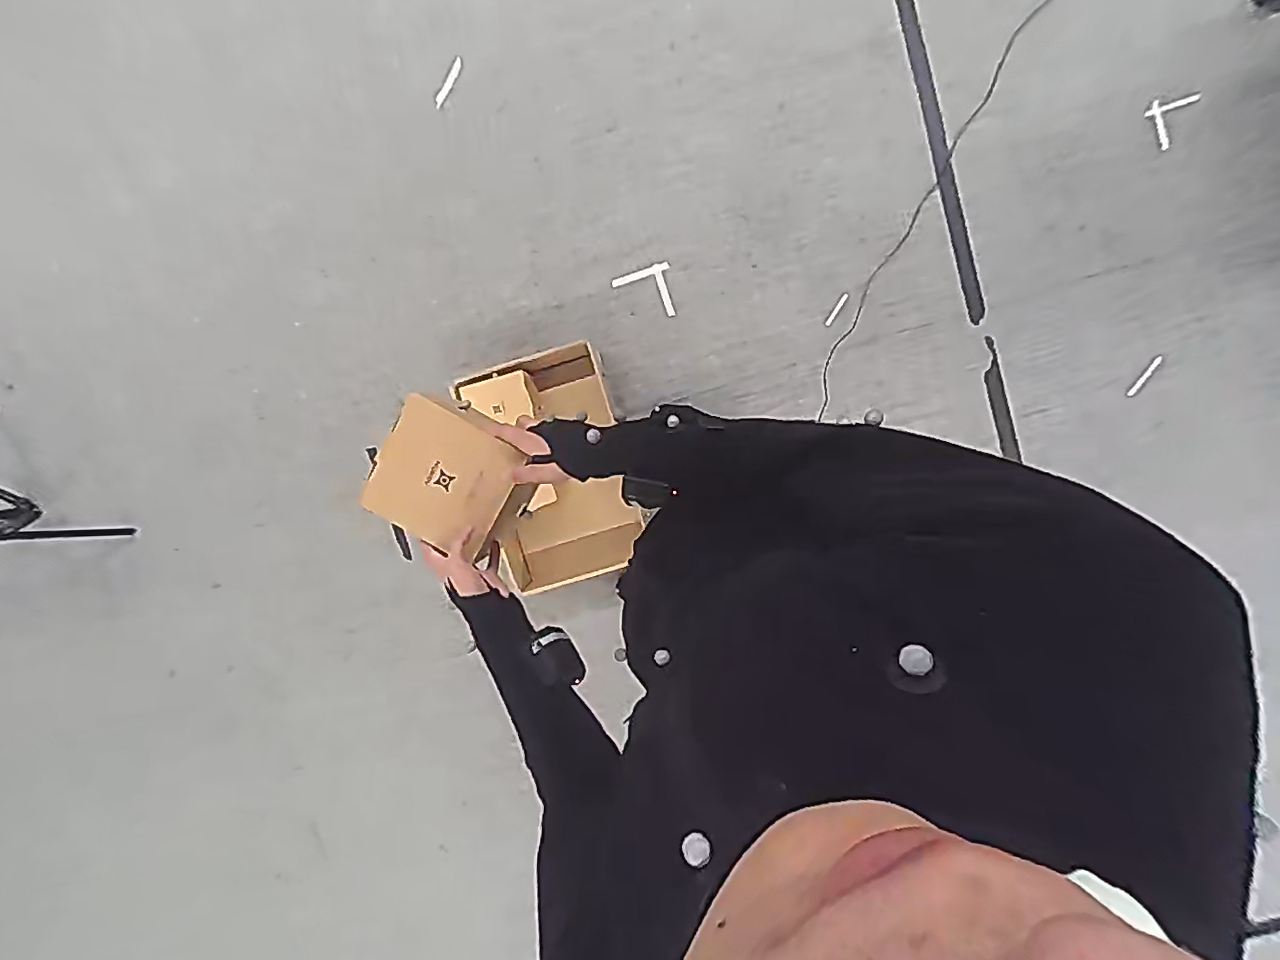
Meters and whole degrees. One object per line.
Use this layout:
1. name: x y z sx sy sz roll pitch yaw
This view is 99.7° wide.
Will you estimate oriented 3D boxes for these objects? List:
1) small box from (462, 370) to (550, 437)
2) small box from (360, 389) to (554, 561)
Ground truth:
1. small box: -0.367 -0.193 1.505 0.179 0.176 0.168 -16 94 0
2. small box: -0.247 -0.009 0.773 0.179 0.176 0.168 29 95 0
